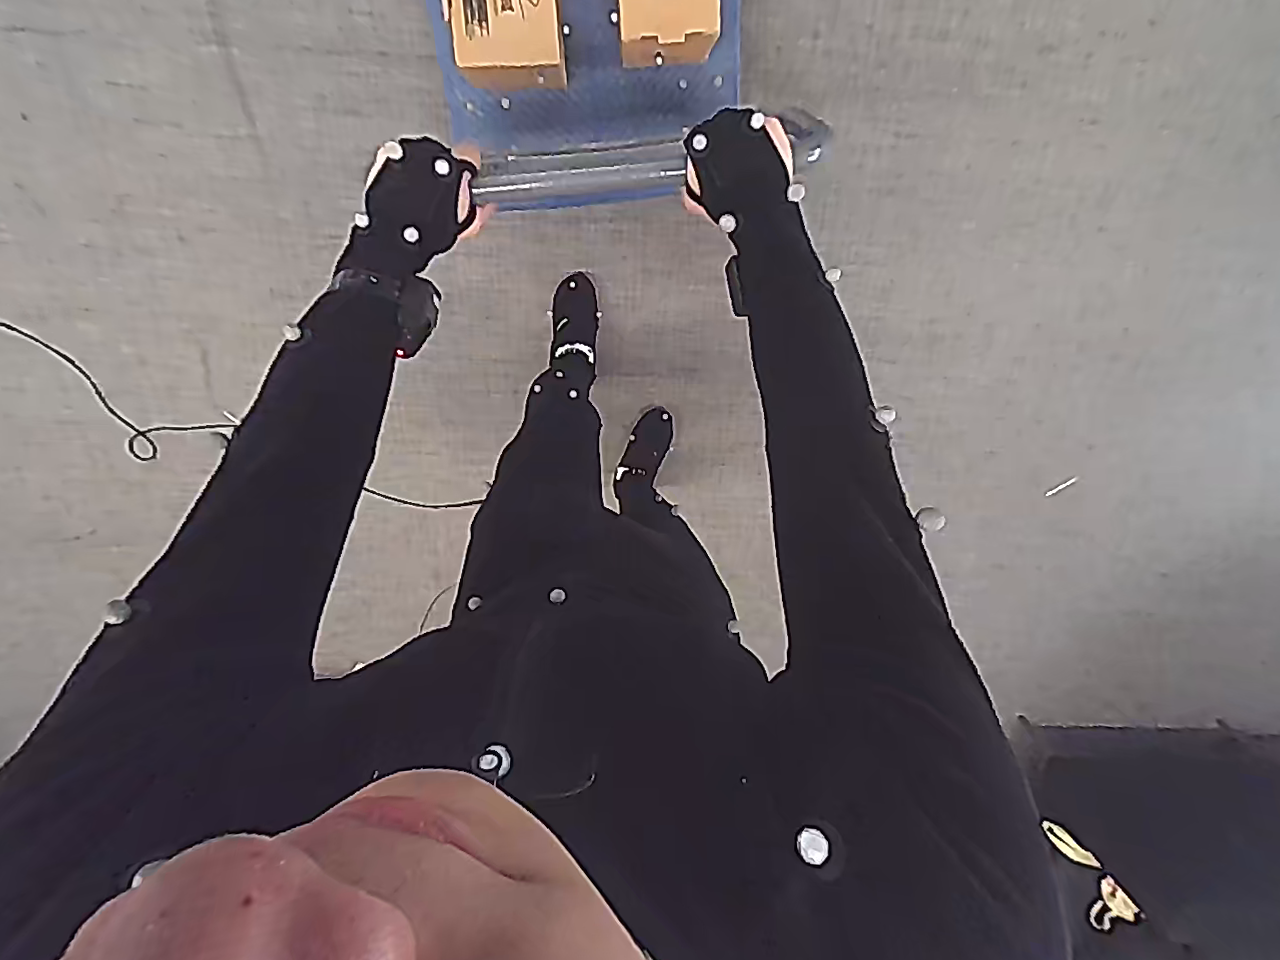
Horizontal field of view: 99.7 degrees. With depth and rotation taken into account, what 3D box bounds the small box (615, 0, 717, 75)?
[{"bbox_3d":[0.040,-0.849,0.955,0.168,0.176,0.179,-5,115,0],"label":"small box"}]
